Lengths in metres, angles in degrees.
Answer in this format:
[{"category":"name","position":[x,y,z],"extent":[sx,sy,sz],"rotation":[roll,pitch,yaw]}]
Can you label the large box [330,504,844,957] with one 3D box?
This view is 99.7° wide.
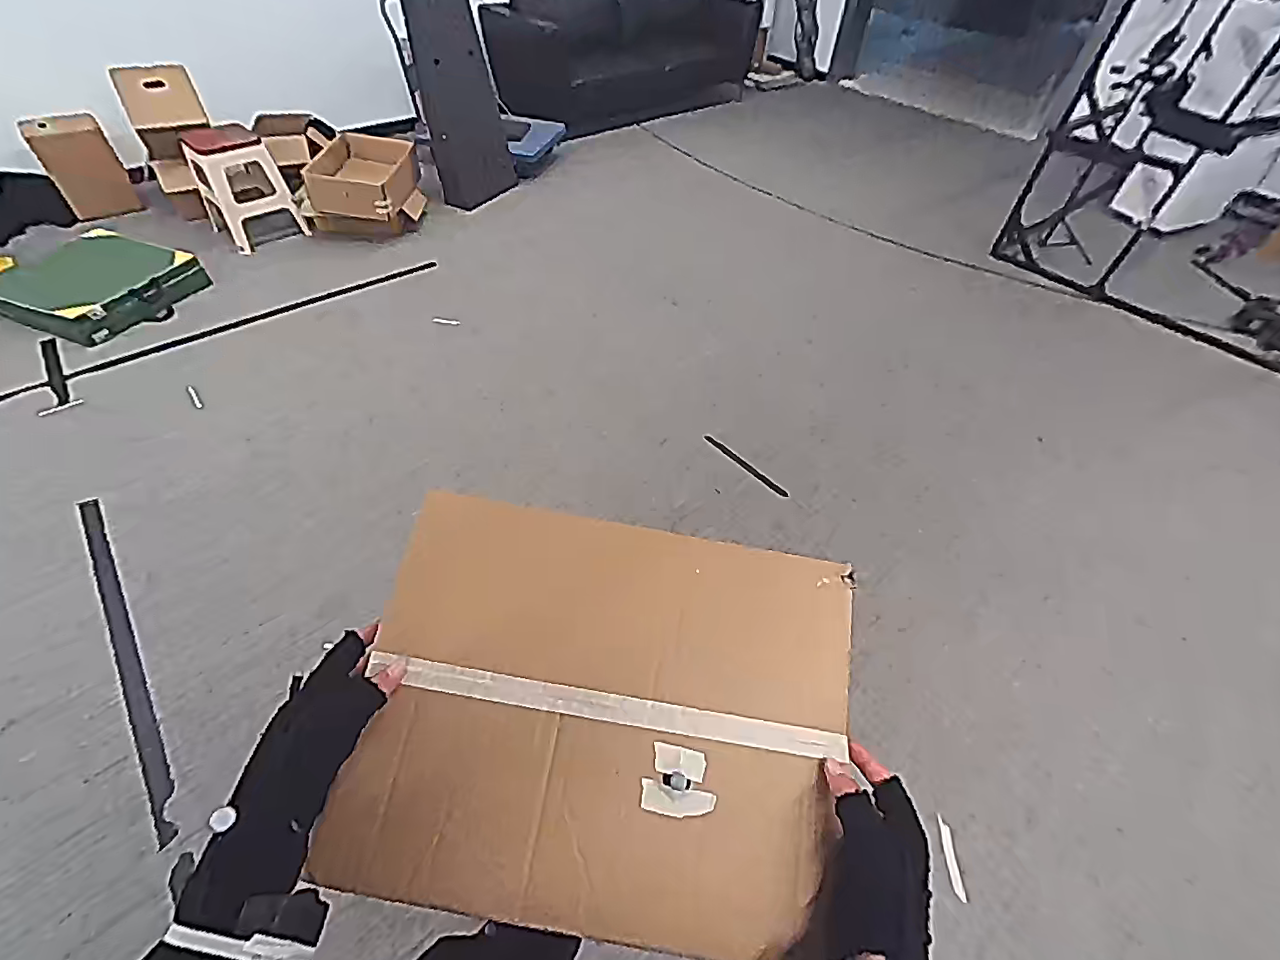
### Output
[{"category":"large box","position":[-0.032,0.248,0.606],"extent":[0.408,0.320,0.320],"rotation":[10,69,0]}]
